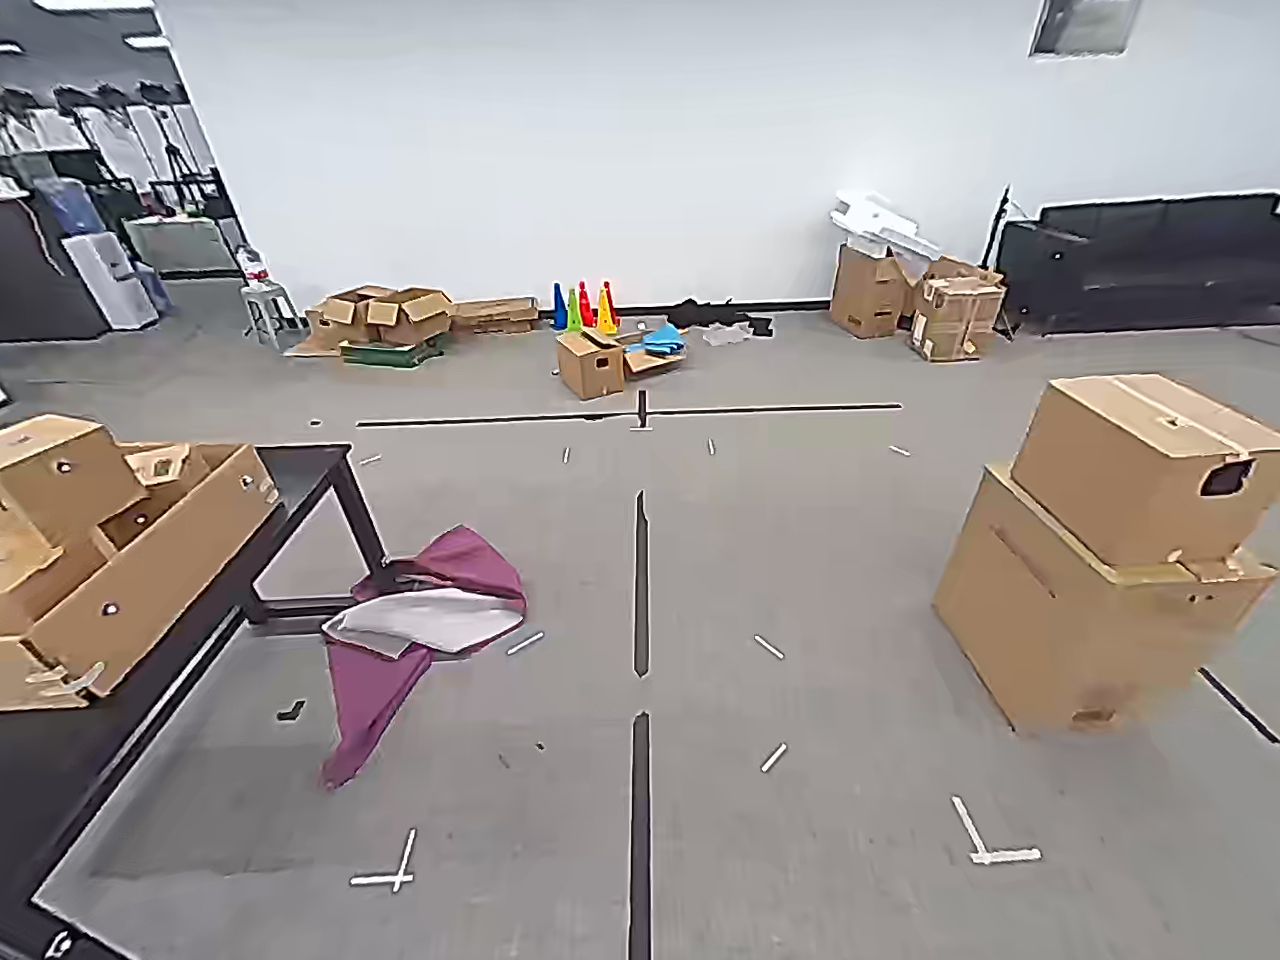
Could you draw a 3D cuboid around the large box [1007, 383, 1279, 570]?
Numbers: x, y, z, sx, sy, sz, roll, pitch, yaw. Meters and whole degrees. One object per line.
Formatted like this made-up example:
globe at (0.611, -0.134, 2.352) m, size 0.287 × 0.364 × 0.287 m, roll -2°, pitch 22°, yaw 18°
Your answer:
large box at (1.262, -0.023, 1.393) m, size 0.320 × 0.320 × 0.408 m, roll -4°, pitch 35°, yaw -2°
